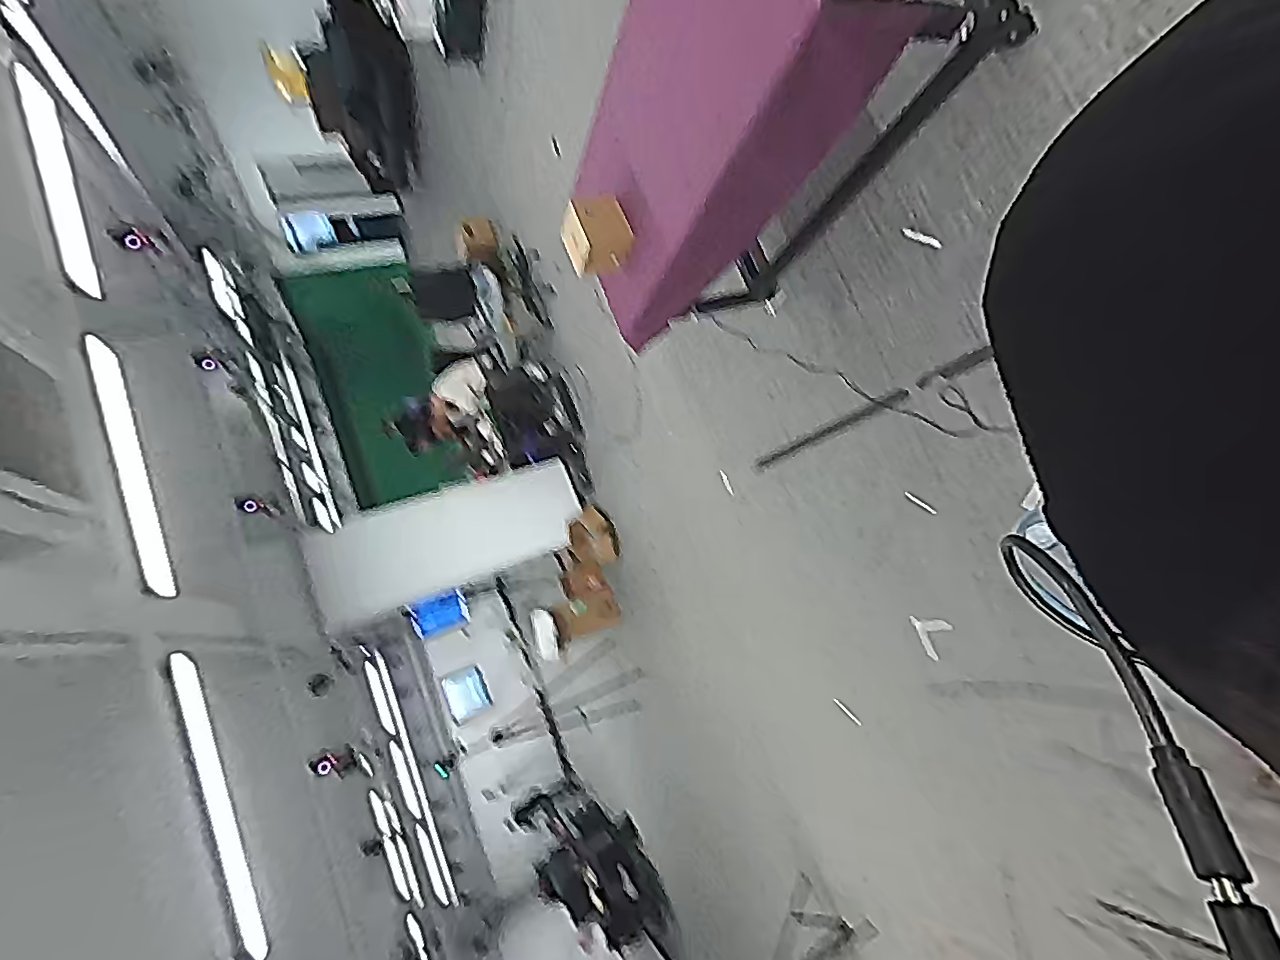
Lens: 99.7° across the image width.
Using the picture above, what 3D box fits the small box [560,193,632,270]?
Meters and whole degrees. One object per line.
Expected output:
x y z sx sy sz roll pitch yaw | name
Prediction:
-0.151 -0.839 1.826 0.179 0.176 0.168 67 156 11 | small box
